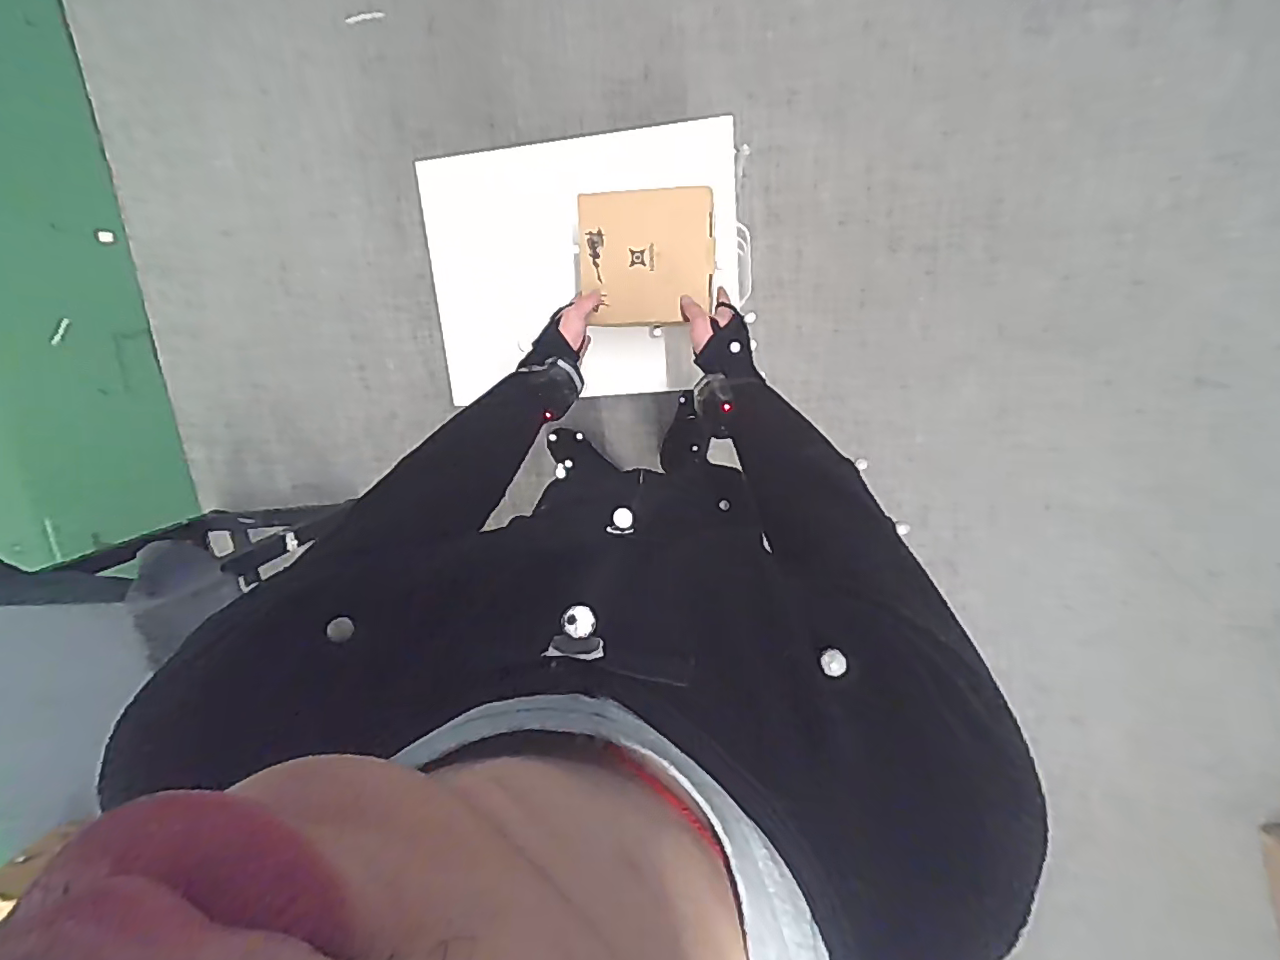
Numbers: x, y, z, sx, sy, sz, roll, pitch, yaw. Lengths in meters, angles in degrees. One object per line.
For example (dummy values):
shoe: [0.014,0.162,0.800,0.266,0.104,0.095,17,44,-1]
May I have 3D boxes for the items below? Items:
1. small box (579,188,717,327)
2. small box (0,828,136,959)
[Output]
small box: [0.018,-0.307,0.776,0.179,0.176,0.168,1,105,7]
small box: [-1.217,0.857,1.119,0.168,0.176,0.179,-4,106,10]
